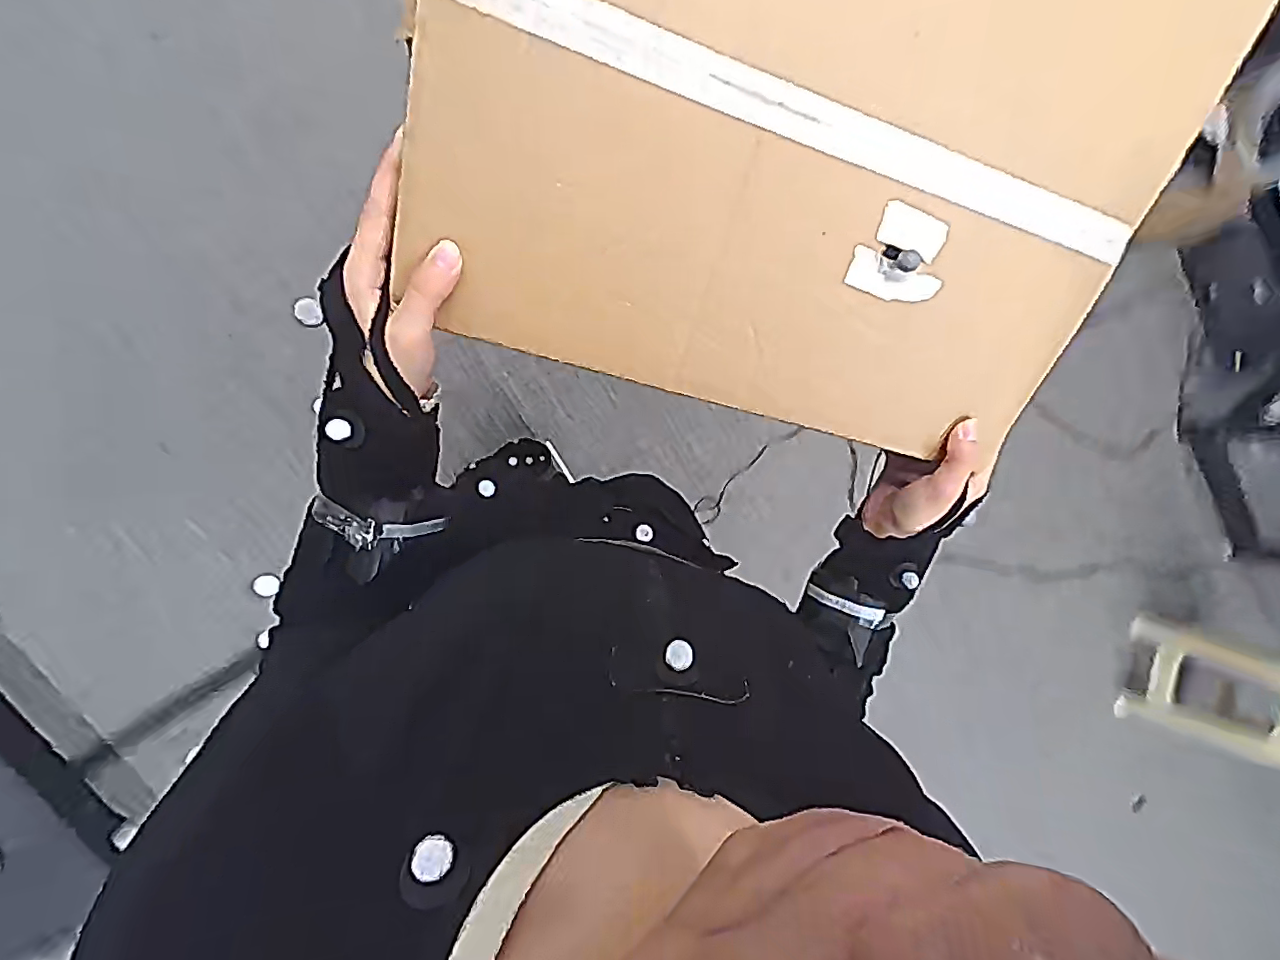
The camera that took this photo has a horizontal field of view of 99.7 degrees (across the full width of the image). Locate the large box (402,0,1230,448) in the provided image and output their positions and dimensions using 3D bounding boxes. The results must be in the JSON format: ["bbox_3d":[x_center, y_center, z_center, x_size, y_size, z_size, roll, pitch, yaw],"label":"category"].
[{"bbox_3d":[0.070,-0.253,0.416,0.408,0.320,0.320,10,116,-14],"label":"large box"}]
